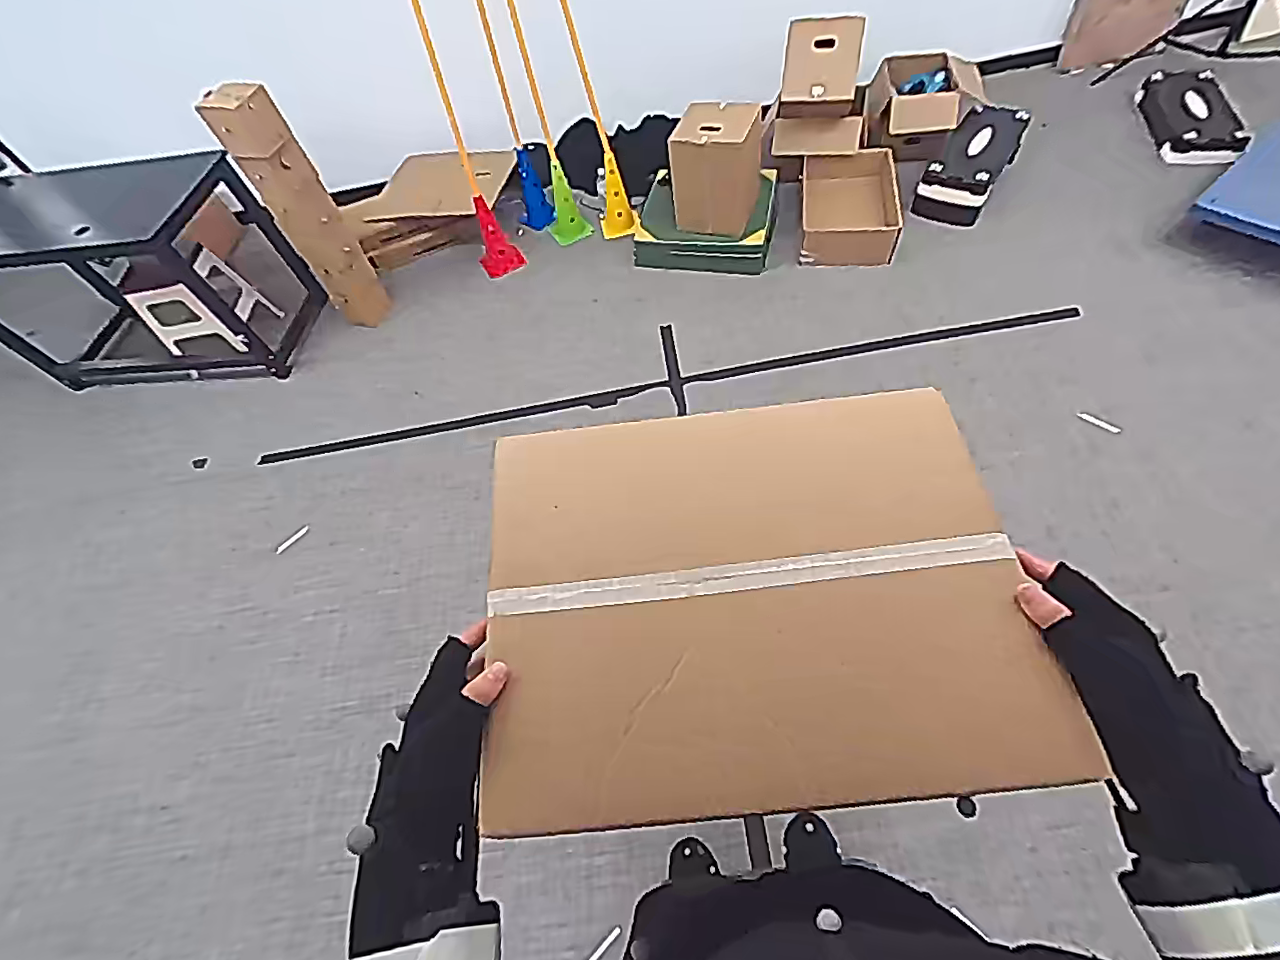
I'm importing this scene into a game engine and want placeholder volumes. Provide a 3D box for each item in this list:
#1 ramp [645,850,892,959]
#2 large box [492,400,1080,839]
[{"bbox_3d":[0.315,1.296,0.989,0.509,0.206,0.991,-10,57,1],"label":"ramp"},{"bbox_3d":[0.095,0.151,0.560,0.408,0.320,0.320,-6,61,1],"label":"large box"}]
